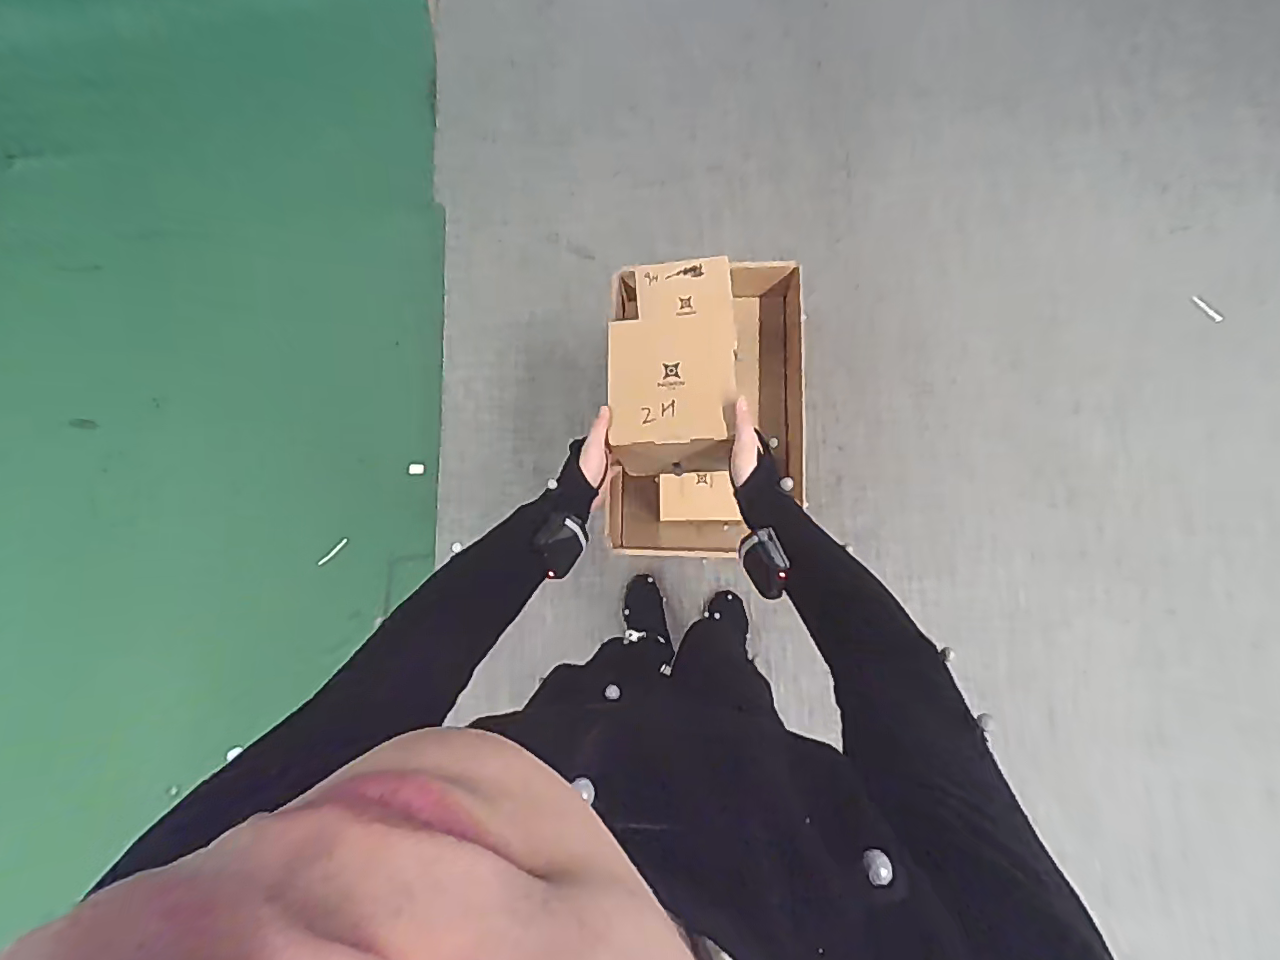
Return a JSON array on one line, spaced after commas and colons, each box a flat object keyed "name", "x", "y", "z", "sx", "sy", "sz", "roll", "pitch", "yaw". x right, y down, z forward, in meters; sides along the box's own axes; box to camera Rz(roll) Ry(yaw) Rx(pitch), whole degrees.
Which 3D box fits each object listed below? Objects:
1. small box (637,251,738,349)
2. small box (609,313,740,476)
[{"name": "small box", "x": 0.089, "y": -0.292, "z": 0.999, "sx": 0.168, "sy": 0.176, "sz": 0.179, "roll": -5, "pitch": 84, "yaw": 5}, {"name": "small box", "x": 0.053, "y": -0.111, "z": 0.764, "sx": 0.168, "sy": 0.176, "sz": 0.179, "roll": -2, "pitch": 77, "yaw": 9}]
